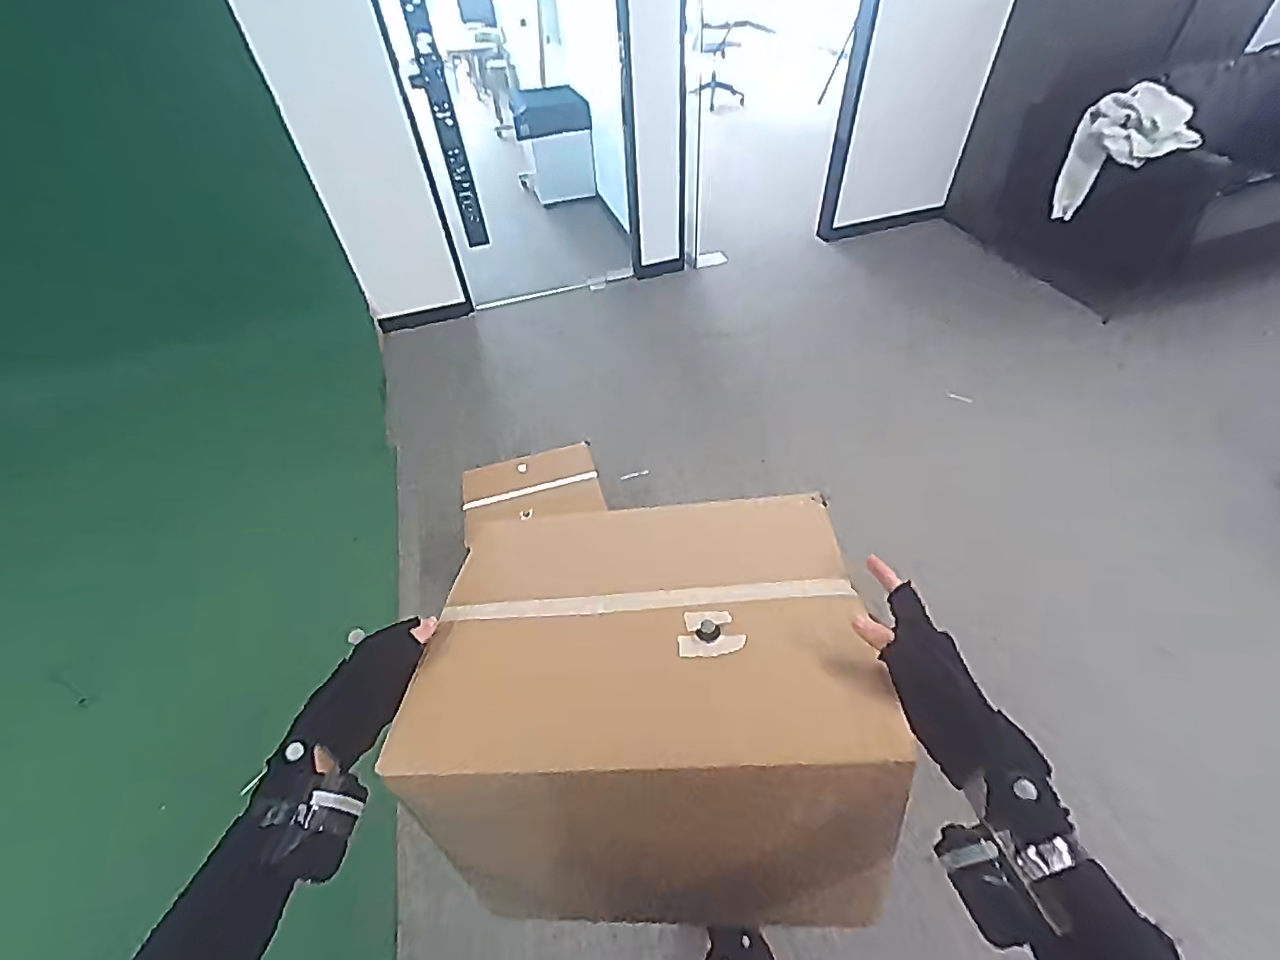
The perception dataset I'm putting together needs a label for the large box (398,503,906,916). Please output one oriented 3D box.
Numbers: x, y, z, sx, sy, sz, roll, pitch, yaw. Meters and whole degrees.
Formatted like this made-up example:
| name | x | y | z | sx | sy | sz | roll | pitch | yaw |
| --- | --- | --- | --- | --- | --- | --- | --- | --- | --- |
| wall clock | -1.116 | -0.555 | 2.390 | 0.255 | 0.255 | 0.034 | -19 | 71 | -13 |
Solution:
| name | x | y | z | sx | sy | sz | roll | pitch | yaw |
| --- | --- | --- | --- | --- | --- | --- | --- | --- | --- |
| large box | 0.023 | 0.250 | 0.615 | 0.408 | 0.320 | 0.320 | -4 | 33 | 6 |
